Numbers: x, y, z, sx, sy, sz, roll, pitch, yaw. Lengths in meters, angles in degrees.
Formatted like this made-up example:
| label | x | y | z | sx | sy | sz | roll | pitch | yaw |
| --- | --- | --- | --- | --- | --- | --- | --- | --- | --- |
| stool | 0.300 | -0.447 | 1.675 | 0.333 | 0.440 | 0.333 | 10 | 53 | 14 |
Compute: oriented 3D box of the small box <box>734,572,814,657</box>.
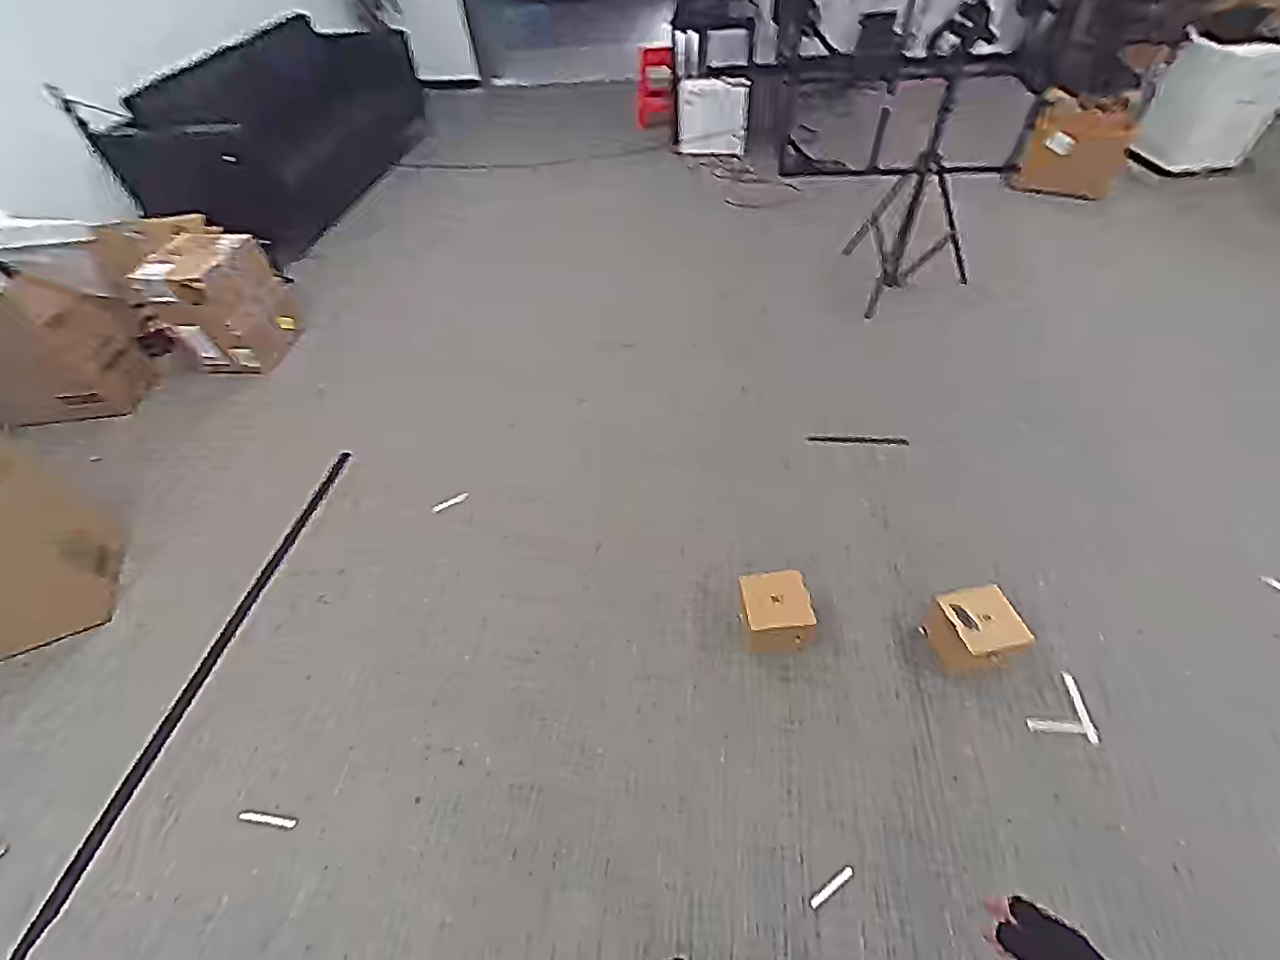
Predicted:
| label | x | y | z | sx | sy | sz | roll | pitch | yaw |
| --- | --- | --- | --- | --- | --- | --- | --- | --- | --- |
| small box | 0.370 | 0.382 | 1.528 | 0.179 | 0.176 | 0.168 | -7 | 49 | 0 |

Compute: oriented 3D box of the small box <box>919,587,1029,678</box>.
| label | x | y | z | sx | sy | sz | roll | pitch | yaw |
| --- | --- | --- | --- | --- | --- | --- | --- | --- | --- |
| small box | 0.881 | 0.414 | 1.454 | 0.179 | 0.176 | 0.168 | -10 | 50 | -4 |
